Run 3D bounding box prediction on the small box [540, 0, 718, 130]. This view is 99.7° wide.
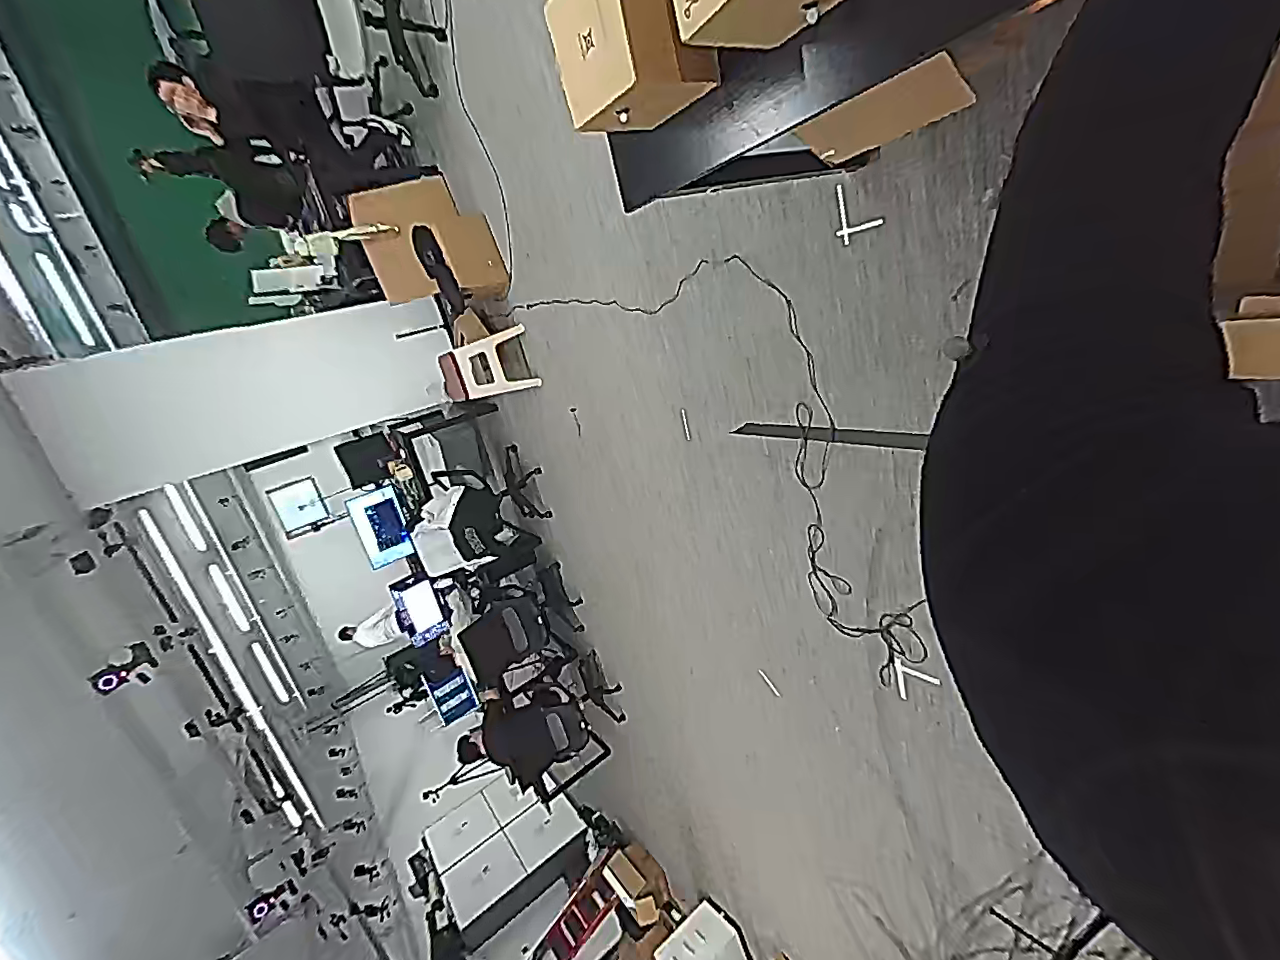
[{"bbox_3d":[-0.015,-0.635,0.787,0.179,0.176,0.168,11,122,53],"label":"small box"}]

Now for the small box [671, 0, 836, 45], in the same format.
[{"bbox_3d":[0.137,-0.603,0.573,0.179,0.176,0.168,7,118,54],"label":"small box"}]
